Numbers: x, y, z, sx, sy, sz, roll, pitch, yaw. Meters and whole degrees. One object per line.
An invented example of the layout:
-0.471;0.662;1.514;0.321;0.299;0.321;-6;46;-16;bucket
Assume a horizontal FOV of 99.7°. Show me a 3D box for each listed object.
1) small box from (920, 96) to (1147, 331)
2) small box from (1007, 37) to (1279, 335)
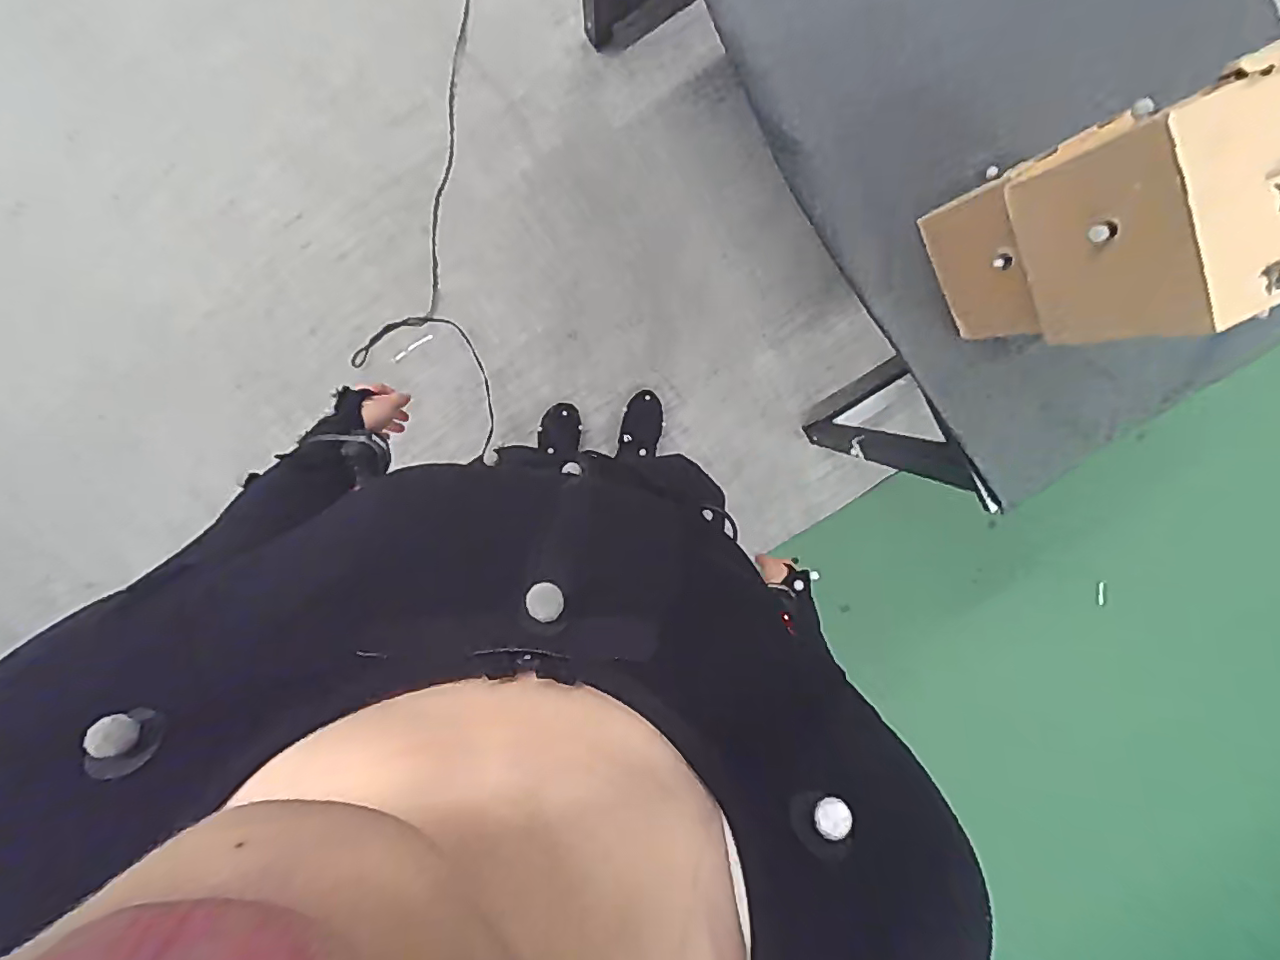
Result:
0.474;-0.296;0.646;0.168;0.176;0.179;-28;102;1;small box
0.479;-0.248;0.488;0.168;0.176;0.179;-26;101;1;small box
